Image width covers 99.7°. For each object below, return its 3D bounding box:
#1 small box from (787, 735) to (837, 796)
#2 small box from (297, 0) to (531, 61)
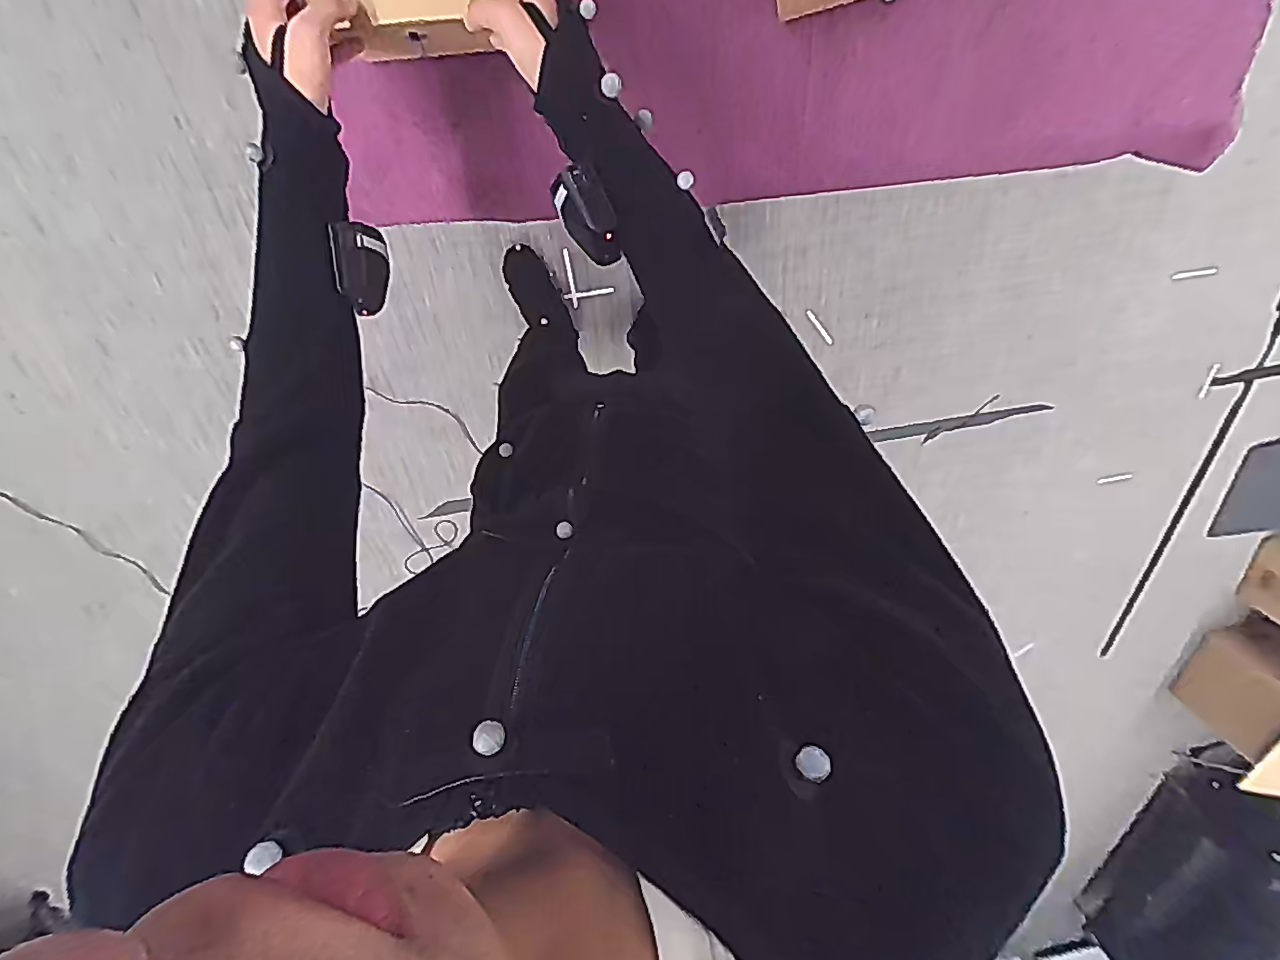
[{"bbox_3d":[0.782,1.303,2.473,0.168,0.176,0.179,-15,122,-4],"label":"small box"},{"bbox_3d":[-0.198,-0.480,0.468,0.179,0.176,0.168,-8,122,-4],"label":"small box"}]
